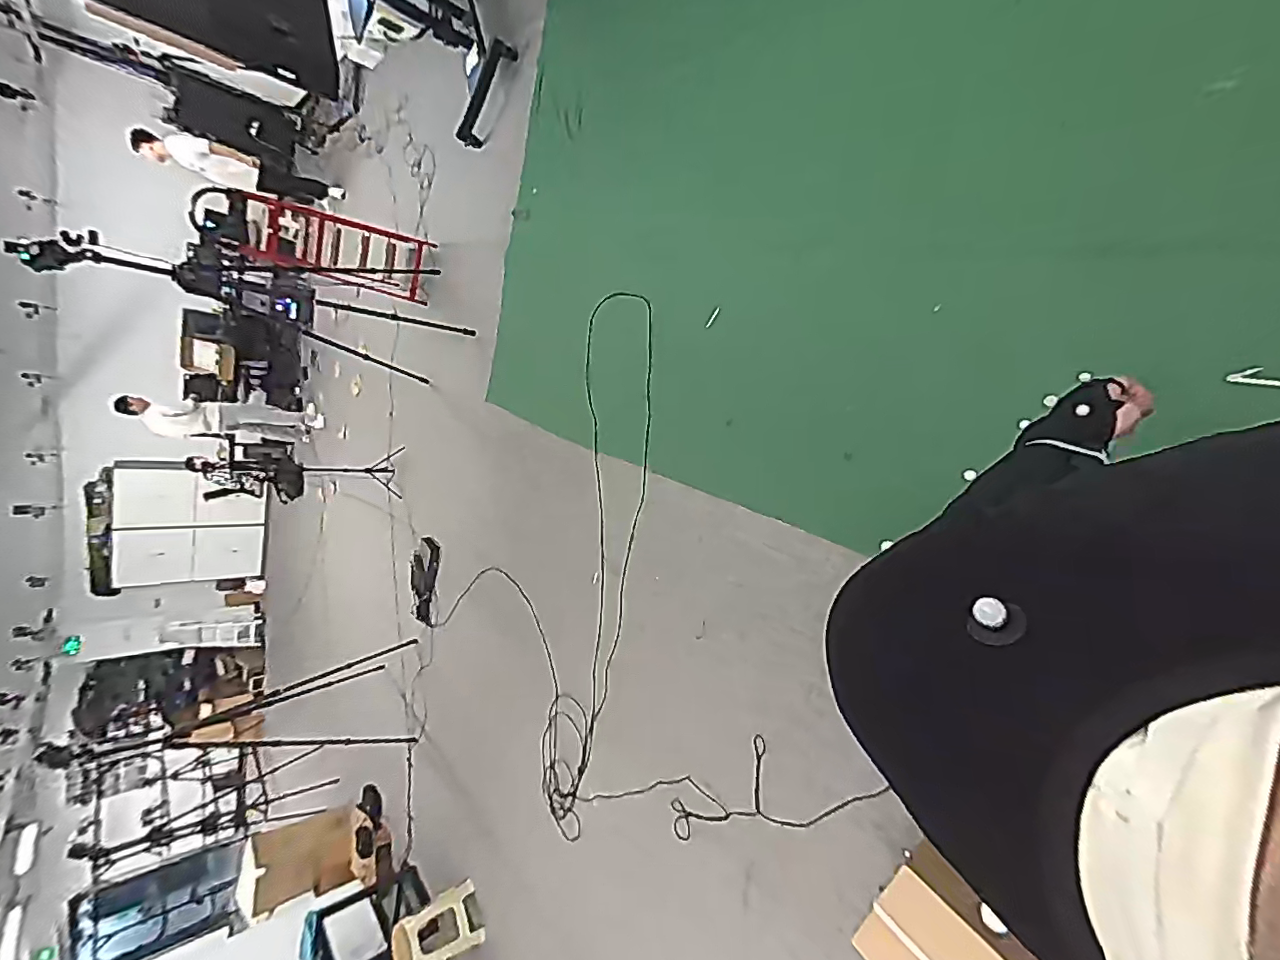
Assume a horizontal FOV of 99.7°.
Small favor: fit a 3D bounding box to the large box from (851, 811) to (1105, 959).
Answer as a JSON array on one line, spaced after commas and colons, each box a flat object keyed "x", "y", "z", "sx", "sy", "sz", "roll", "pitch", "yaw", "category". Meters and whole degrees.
[{"x": 0.824, "y": 1.145, "z": 1.342, "sx": 0.408, "sy": 0.320, "sz": 0.320, "roll": 36, "pitch": 114, "yaw": 40, "category": "large box"}]
